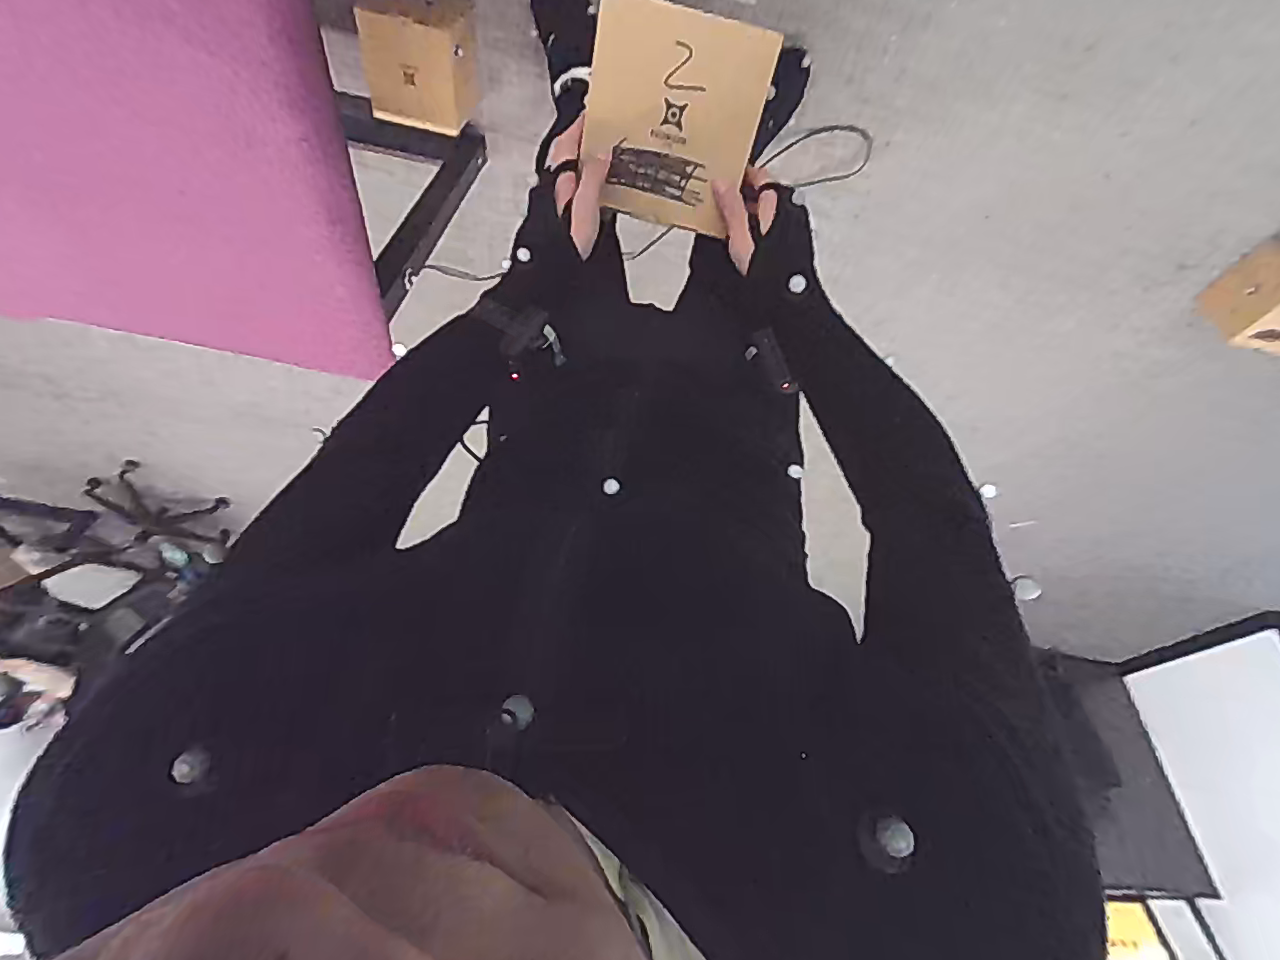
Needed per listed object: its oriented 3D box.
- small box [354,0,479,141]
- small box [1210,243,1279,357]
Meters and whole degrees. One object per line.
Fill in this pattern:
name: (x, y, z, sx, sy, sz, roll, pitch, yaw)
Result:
small box: (-0.421, -0.807, 1.055, 0.168, 0.176, 0.179, 11, 142, -4)
small box: (1.487, -0.409, 1.244, 0.168, 0.176, 0.179, 11, 142, -5)
